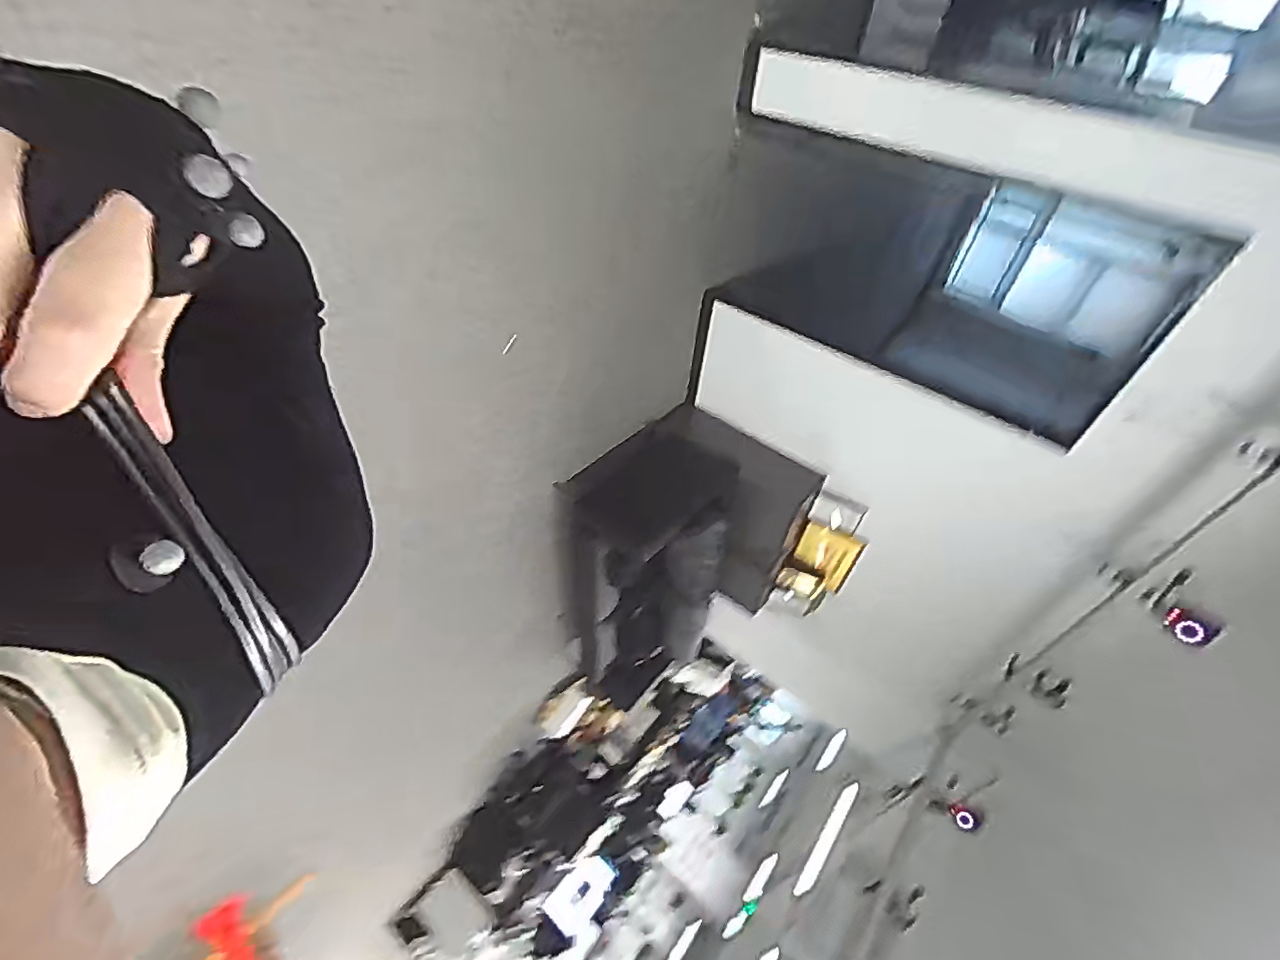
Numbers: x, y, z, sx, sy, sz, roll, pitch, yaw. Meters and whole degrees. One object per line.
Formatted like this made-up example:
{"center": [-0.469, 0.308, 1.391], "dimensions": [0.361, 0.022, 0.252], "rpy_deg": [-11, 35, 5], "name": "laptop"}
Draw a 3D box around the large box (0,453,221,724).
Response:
{"center": [-1.207, 0.224, 1.118], "dimensions": [0.320, 0.320, 0.408], "rpy_deg": [-43, 152, -32], "name": "large box"}
